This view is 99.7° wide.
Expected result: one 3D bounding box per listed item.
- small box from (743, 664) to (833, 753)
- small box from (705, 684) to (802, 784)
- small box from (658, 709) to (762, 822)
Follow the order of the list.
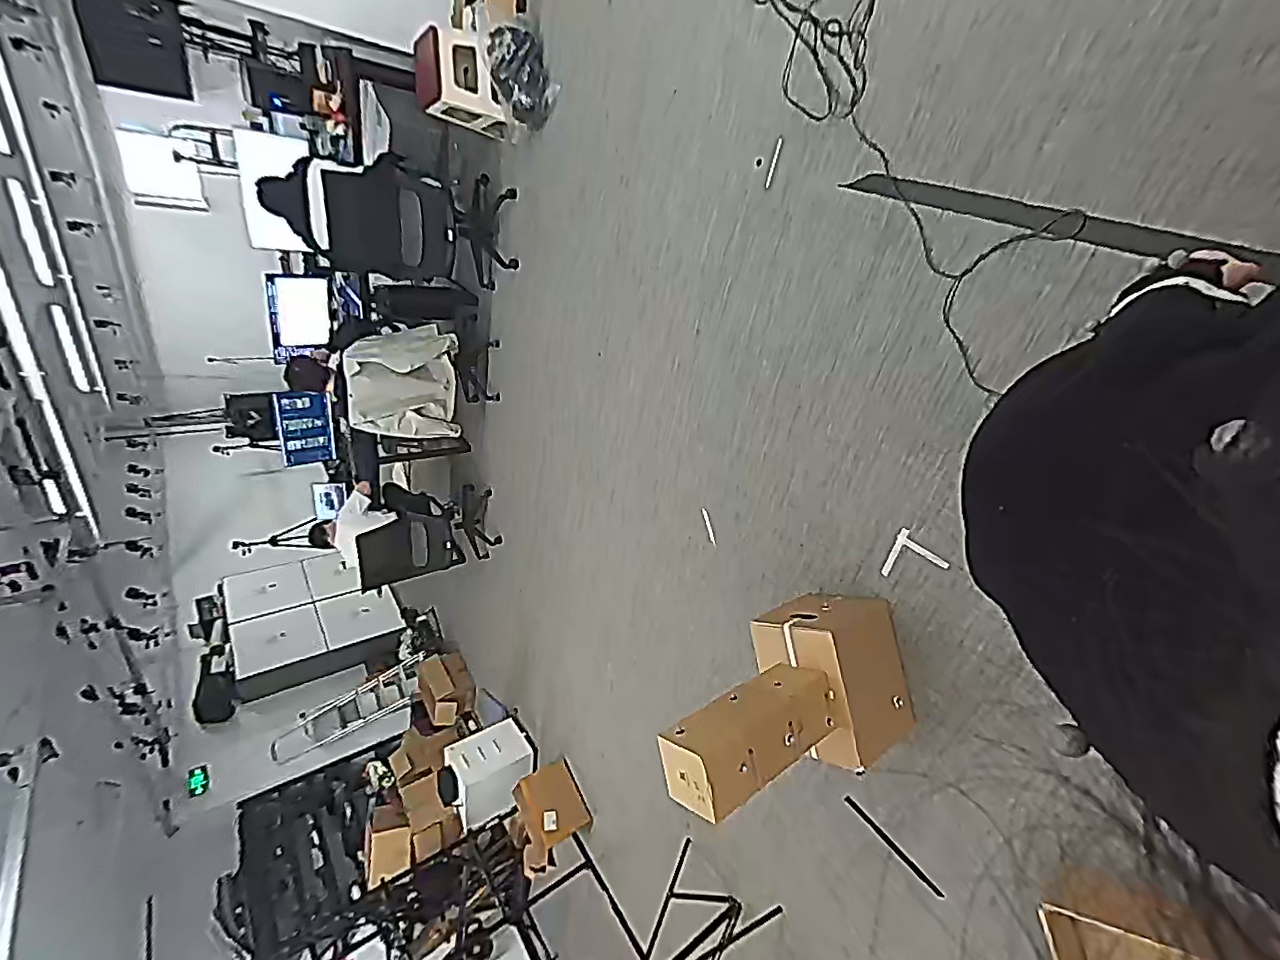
[{"bbox_3d":[0.429,0.641,1.544,0.179,0.176,0.168,-12,90,54],"label":"small box"},{"bbox_3d":[0.303,0.666,1.444,0.179,0.176,0.168,-8,94,53],"label":"small box"},{"bbox_3d":[0.174,0.695,1.345,0.179,0.176,0.168,-8,94,54],"label":"small box"}]
